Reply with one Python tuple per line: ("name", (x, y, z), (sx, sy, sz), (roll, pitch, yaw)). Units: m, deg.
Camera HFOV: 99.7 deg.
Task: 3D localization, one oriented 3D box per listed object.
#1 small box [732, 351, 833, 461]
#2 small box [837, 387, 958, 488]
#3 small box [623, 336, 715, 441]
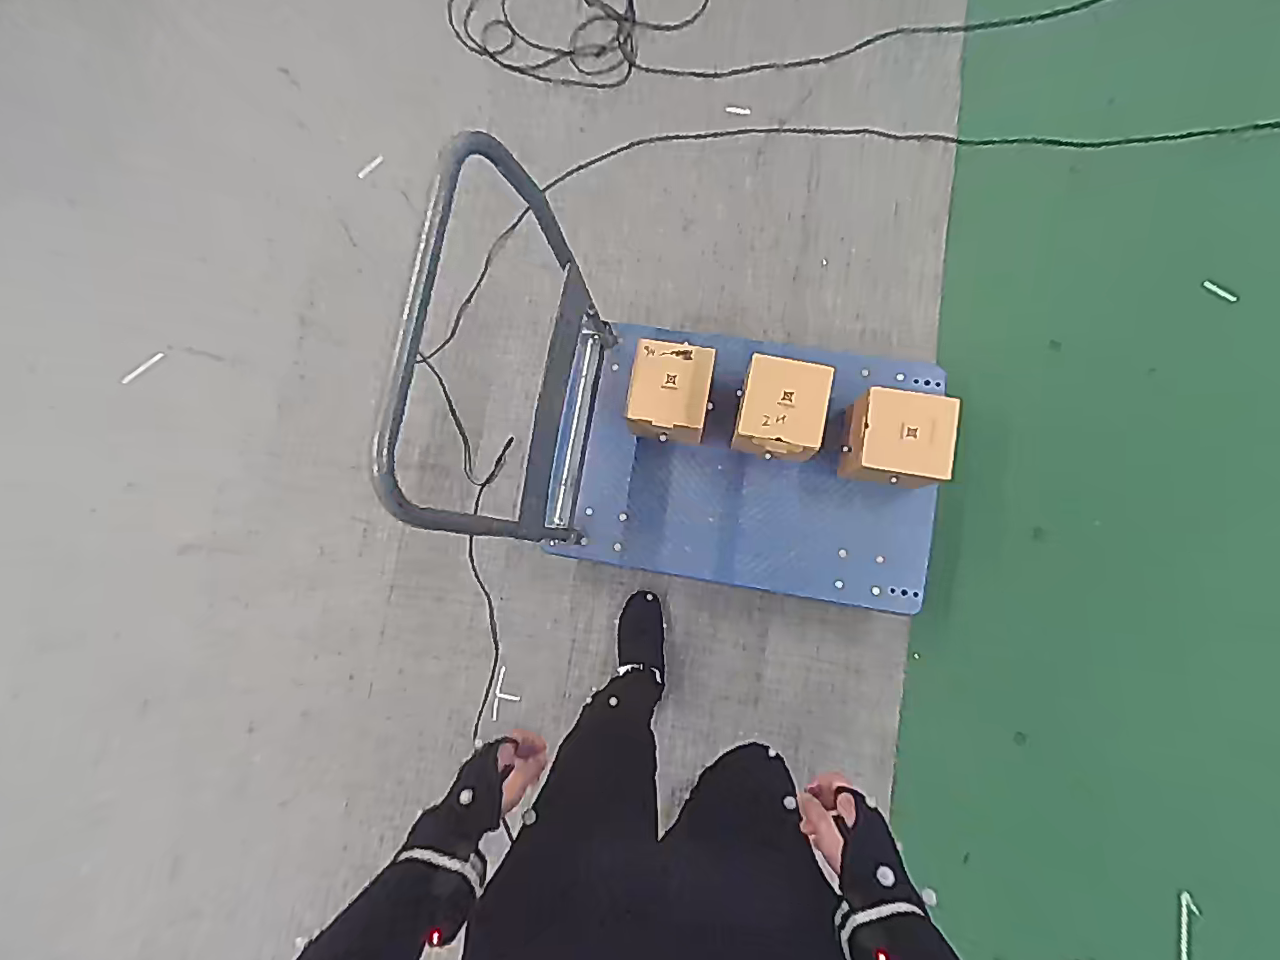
("small box", (0.299, -0.152, 1.168), (0.168, 0.176, 0.179), (13, 84, 6))
("small box", (0.533, -0.082, 1.143), (0.179, 0.176, 0.168), (11, 84, 6))
("small box", (0.067, -0.193, 1.190), (0.168, 0.176, 0.179), (11, 84, 5))
